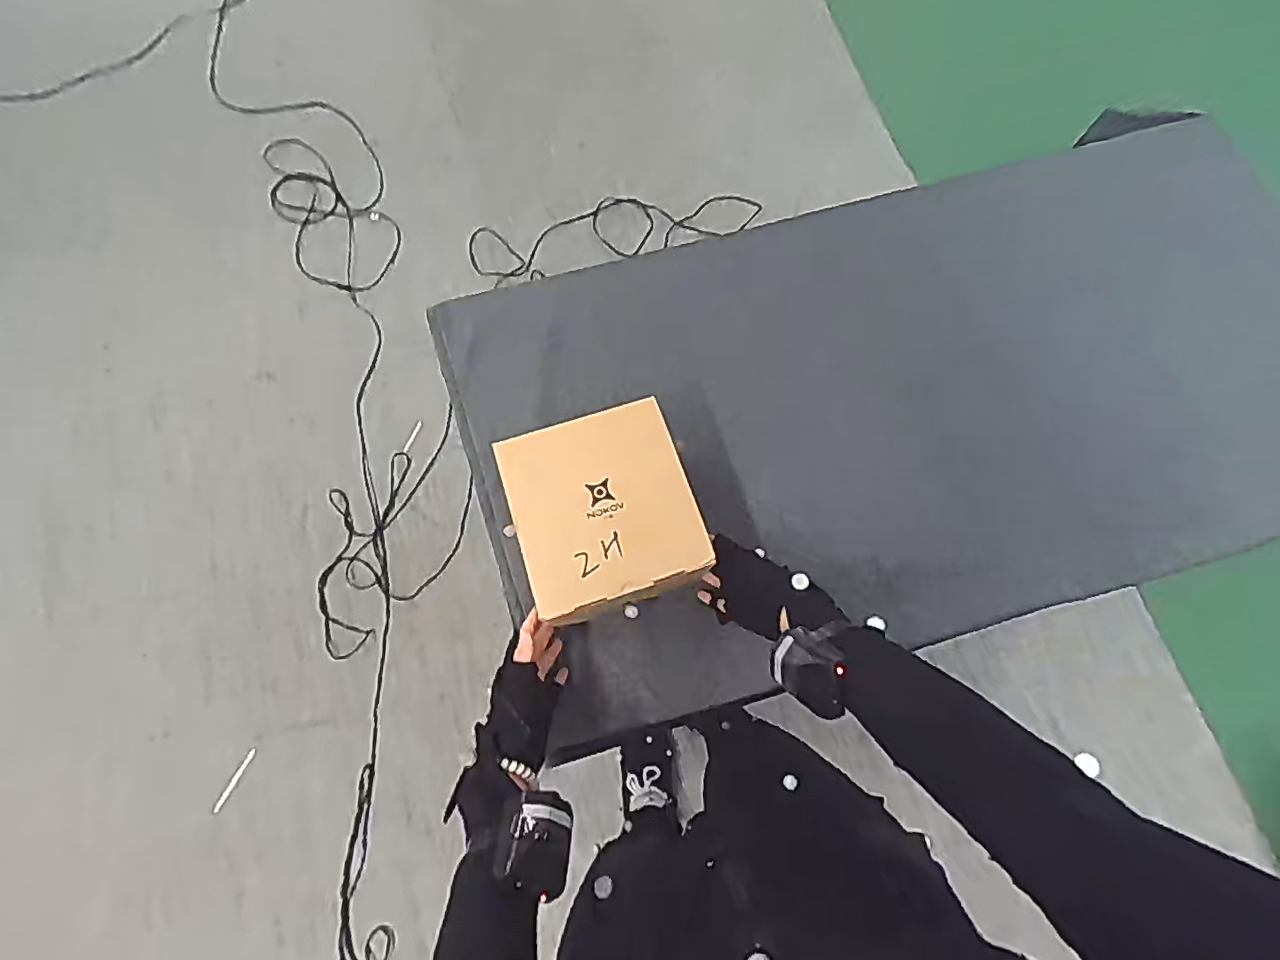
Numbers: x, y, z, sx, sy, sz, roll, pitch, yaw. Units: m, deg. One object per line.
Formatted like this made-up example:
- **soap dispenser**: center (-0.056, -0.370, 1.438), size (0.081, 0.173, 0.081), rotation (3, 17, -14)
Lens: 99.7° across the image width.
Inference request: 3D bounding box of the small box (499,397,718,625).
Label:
- **small box**: center (-0.035, 0.043, 0.574), size (0.168, 0.176, 0.179), rotation (-18, 73, -6)
